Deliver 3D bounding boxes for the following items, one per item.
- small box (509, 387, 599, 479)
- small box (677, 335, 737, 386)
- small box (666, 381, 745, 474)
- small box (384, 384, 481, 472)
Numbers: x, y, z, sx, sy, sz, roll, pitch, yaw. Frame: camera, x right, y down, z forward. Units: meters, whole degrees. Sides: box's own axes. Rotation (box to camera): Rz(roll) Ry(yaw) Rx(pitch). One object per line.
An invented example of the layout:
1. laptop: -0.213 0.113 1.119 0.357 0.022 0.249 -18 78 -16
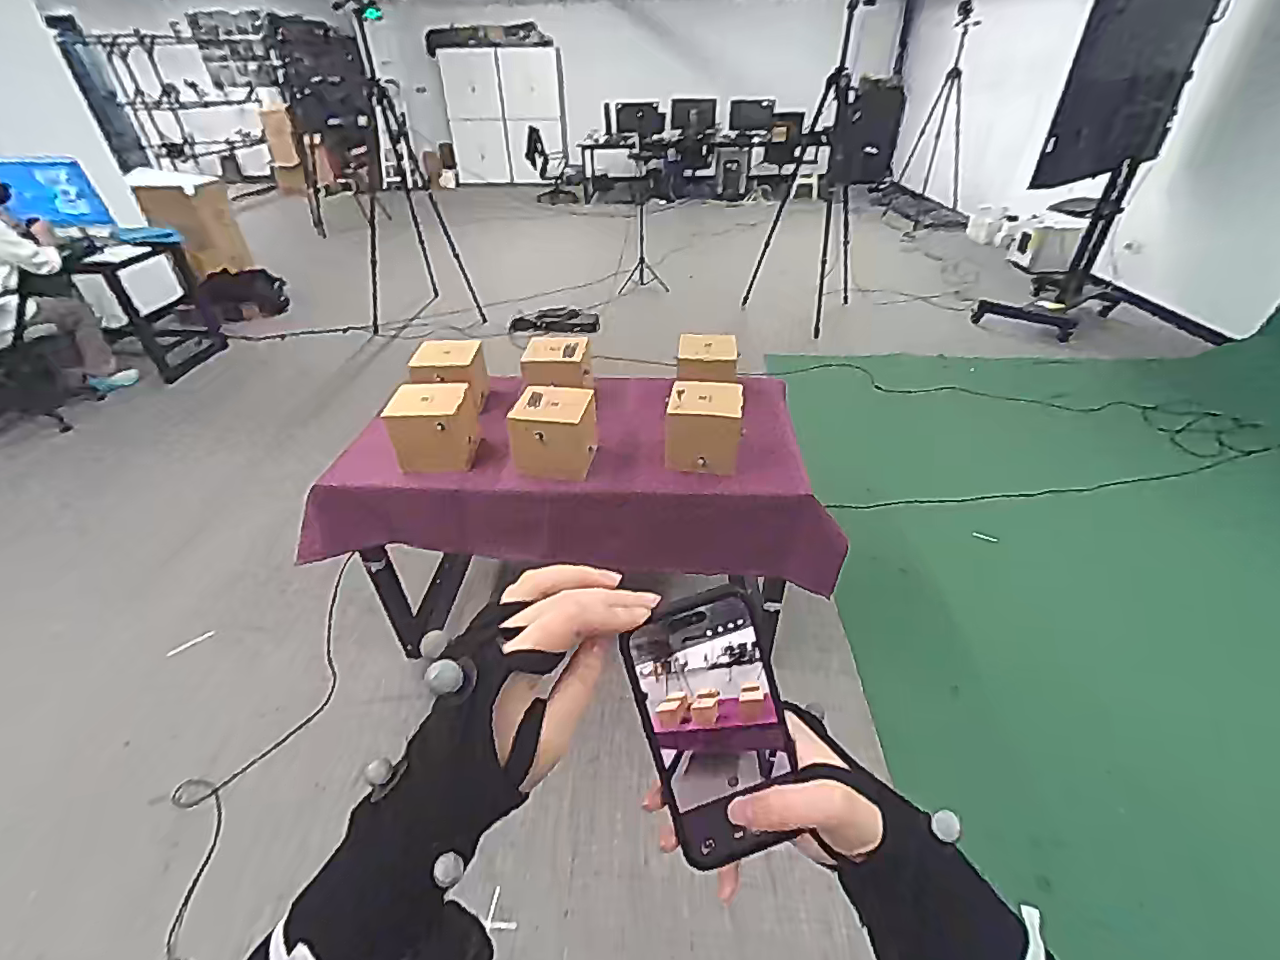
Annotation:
1. small box: -0.207 -0.117 1.350 0.179 0.176 0.168 6 37 7
2. small box: 0.198 -0.317 1.606 0.168 0.176 0.179 3 38 6
3. small box: 0.164 -0.129 1.357 0.179 0.176 0.168 6 37 8
4. small box: -0.519 -0.132 1.378 0.179 0.176 0.168 -1 36 -2
